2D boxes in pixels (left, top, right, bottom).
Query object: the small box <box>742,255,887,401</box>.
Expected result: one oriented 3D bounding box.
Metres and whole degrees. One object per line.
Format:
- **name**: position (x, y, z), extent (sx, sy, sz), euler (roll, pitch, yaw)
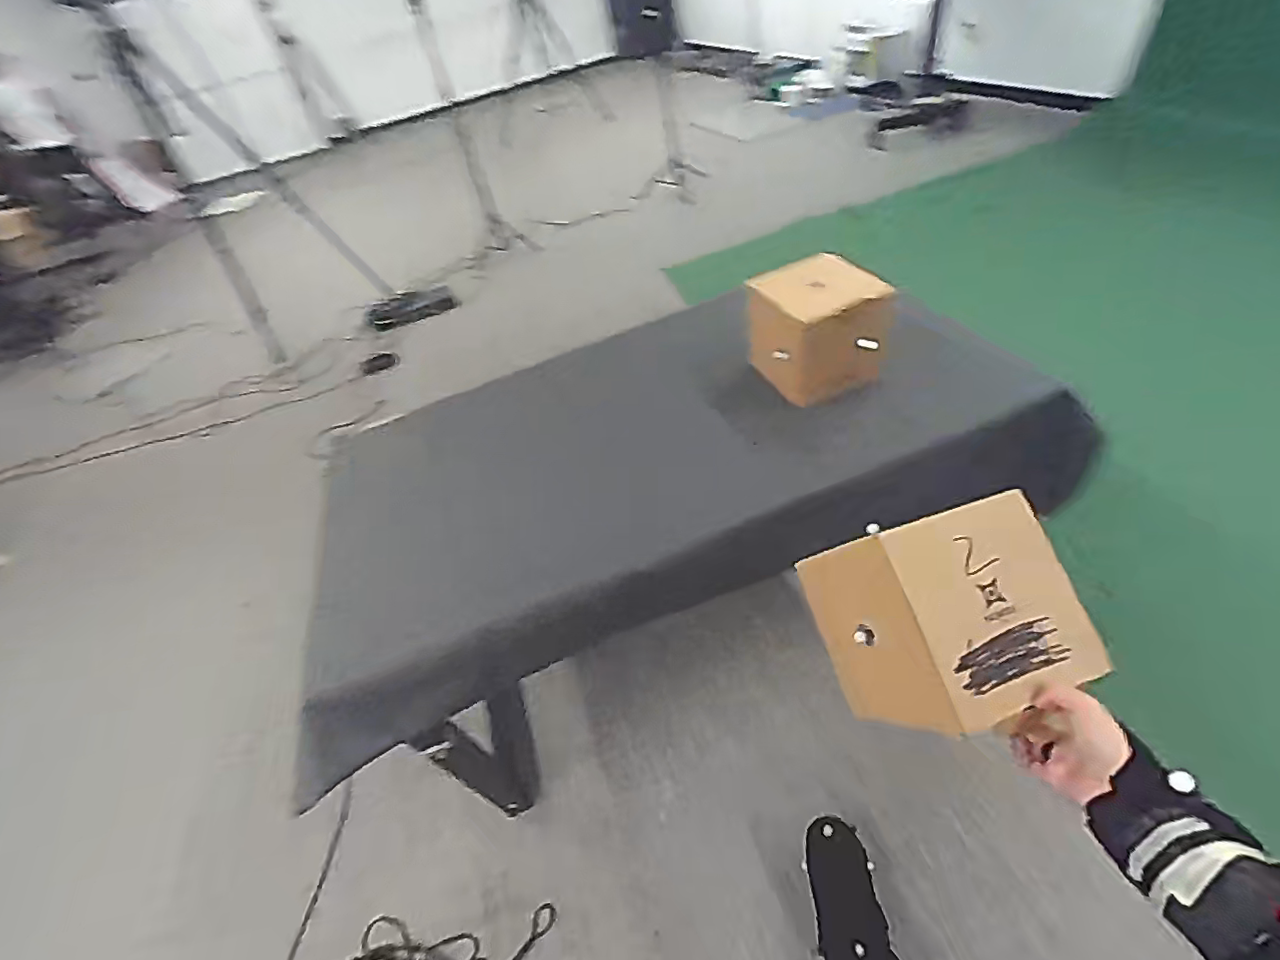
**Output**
- **small box**: position (0.295, -0.258, 0.939), extent (0.168, 0.176, 0.179), euler (-22, 43, -8)
